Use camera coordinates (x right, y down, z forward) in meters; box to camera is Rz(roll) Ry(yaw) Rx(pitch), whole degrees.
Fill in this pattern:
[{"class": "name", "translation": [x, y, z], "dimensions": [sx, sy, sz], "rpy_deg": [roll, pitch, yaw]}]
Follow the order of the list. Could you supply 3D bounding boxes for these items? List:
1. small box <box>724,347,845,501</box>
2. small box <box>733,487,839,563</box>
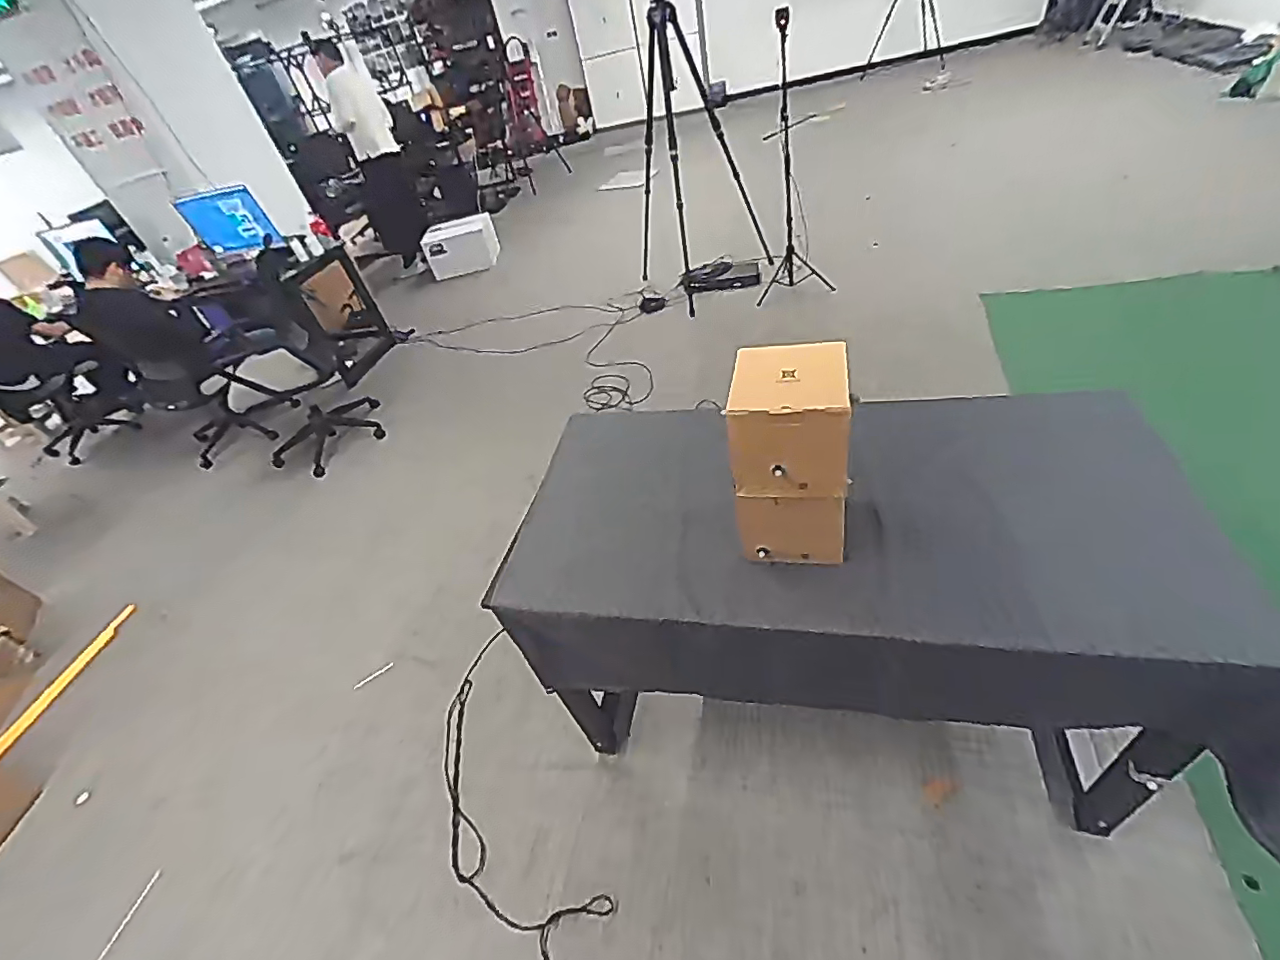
[{"class": "small box", "translation": [0.230, -0.088, 0.851], "dimensions": [0.168, 0.176, 0.179], "rpy_deg": [0, 43, 18]}, {"class": "small box", "translation": [0.264, 0.030, 0.958], "dimensions": [0.168, 0.176, 0.179], "rpy_deg": [0, 42, 18]}]
